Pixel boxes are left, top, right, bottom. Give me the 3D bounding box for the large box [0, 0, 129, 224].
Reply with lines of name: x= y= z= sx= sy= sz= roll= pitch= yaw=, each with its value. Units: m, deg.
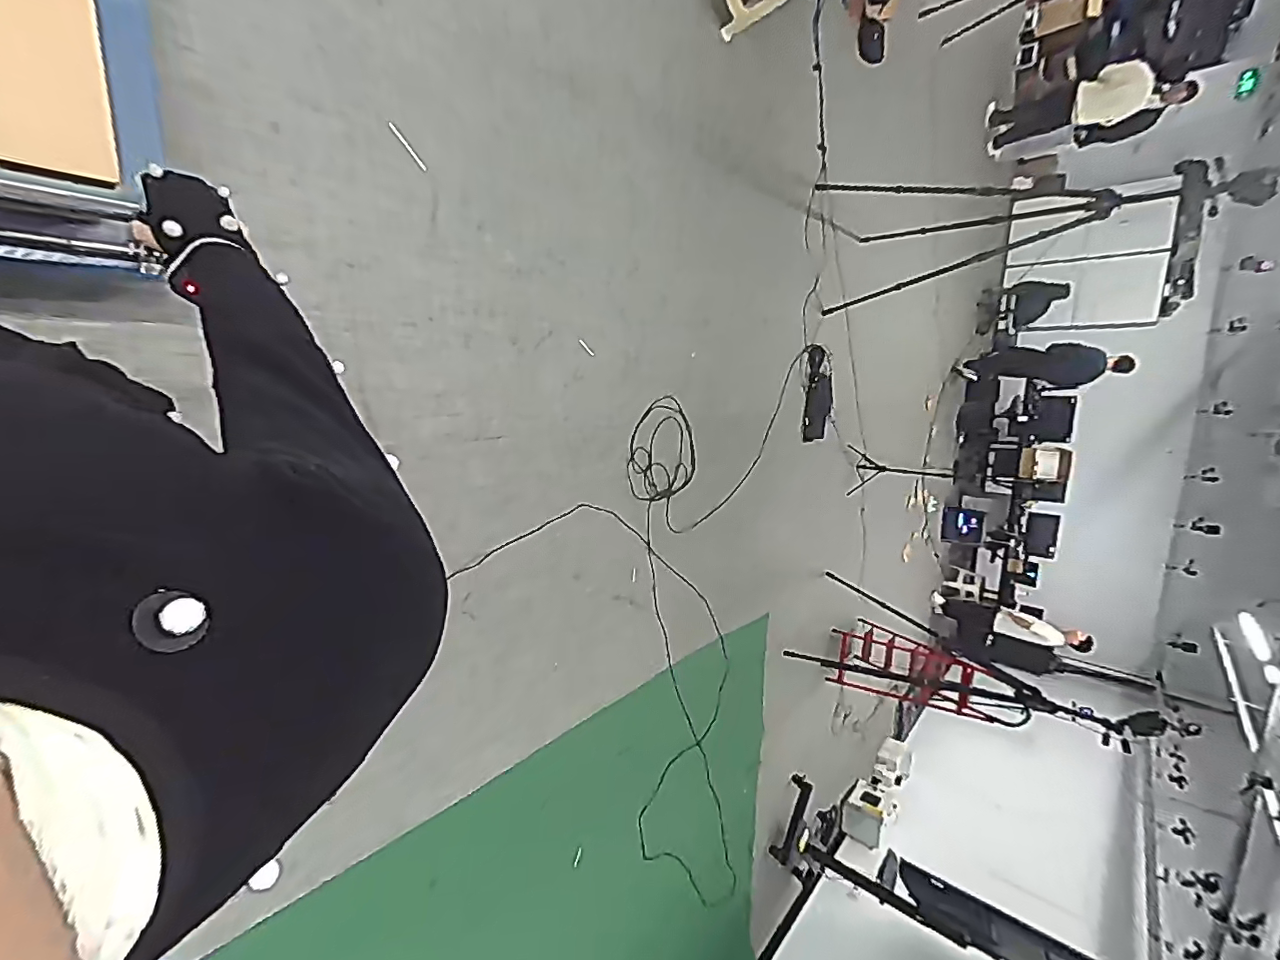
large box: x=-0.995 y=-0.633 z=0.777 sx=0.320 sy=0.320 sz=0.408 roll=-12 pitch=105 yaw=-47
